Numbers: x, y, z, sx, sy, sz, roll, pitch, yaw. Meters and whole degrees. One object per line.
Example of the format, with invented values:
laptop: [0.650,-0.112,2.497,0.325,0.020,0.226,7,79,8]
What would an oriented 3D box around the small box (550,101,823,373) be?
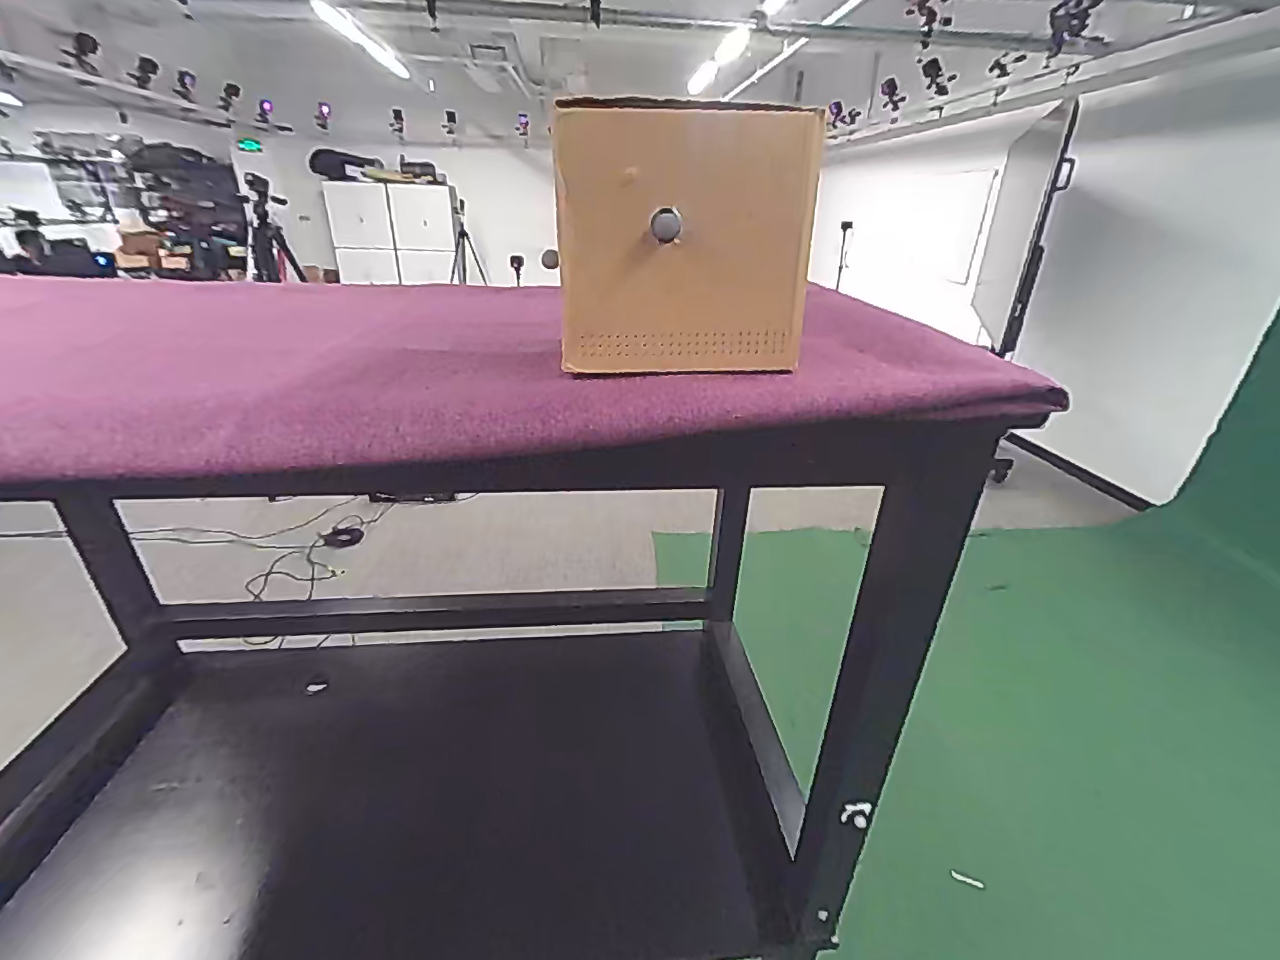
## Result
small box: [0.027,-0.185,0.437,0.179,0.176,0.168,-2,24,-4]
